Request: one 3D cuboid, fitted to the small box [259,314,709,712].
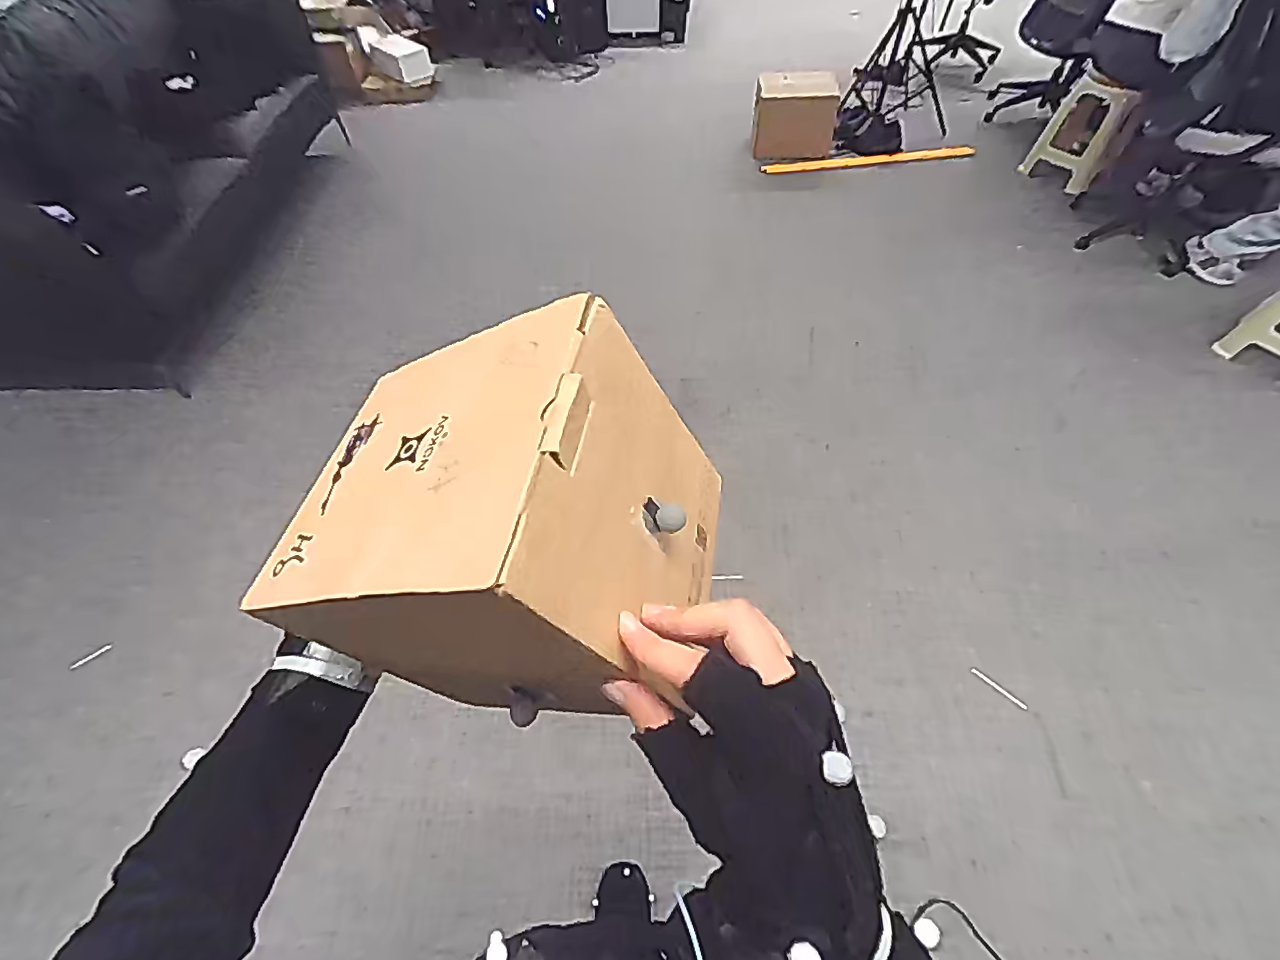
[{"bbox_3d":[-0.070,0.035,0.336,0.179,0.176,0.168,-10,50,29],"label":"small box"}]
